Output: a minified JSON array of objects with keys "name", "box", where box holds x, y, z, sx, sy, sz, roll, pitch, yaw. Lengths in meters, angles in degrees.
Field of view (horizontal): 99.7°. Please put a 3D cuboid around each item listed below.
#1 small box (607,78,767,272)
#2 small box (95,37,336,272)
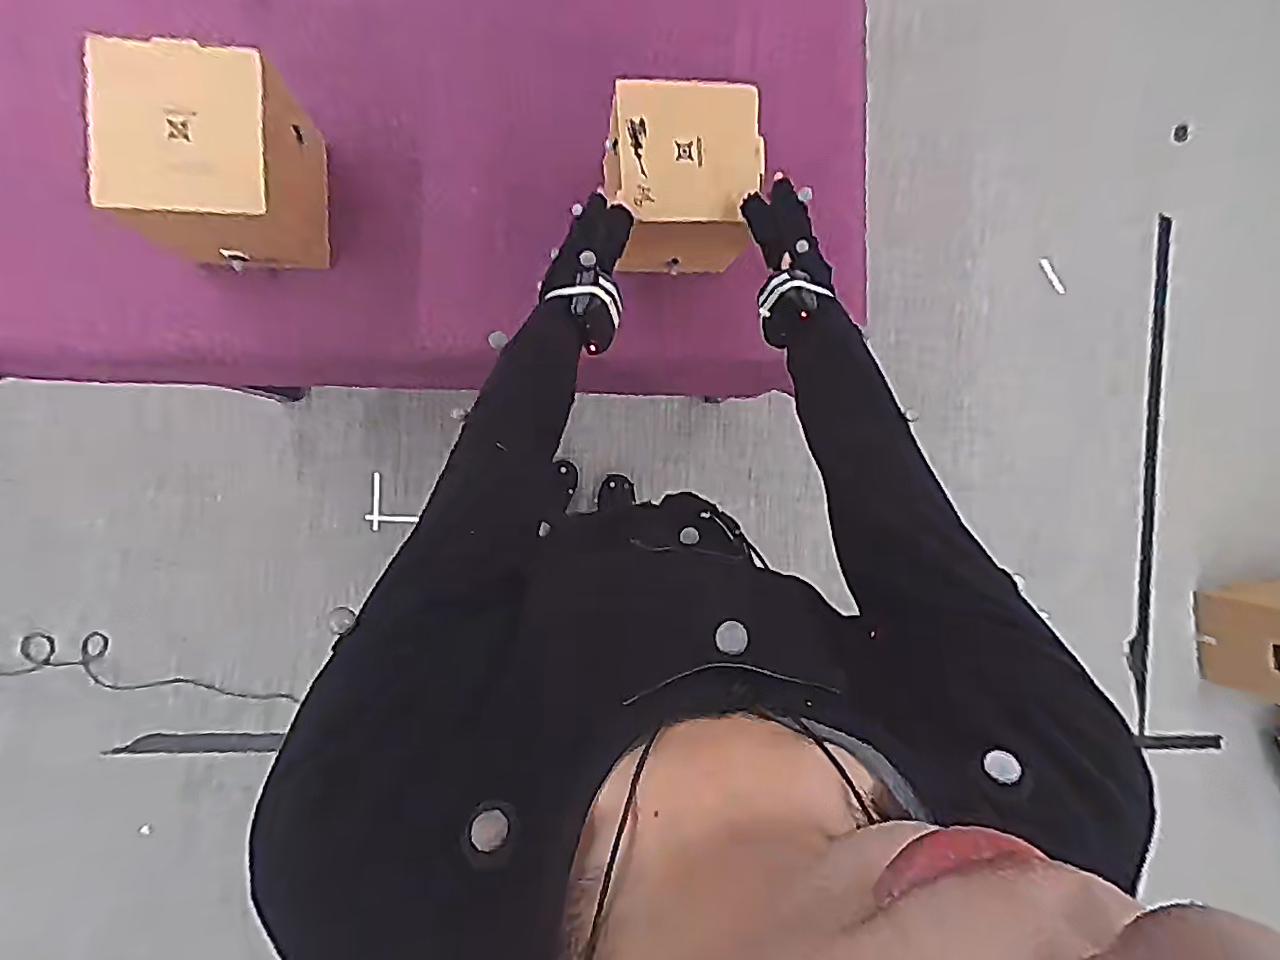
[{"name":"small box","box":[0.054,-0.390,0.721,0.179,0.176,0.168,-3,91,-9]},{"name":"small box","box":[-0.483,-0.367,0.641,0.168,0.176,0.179,-2,92,-8]}]
